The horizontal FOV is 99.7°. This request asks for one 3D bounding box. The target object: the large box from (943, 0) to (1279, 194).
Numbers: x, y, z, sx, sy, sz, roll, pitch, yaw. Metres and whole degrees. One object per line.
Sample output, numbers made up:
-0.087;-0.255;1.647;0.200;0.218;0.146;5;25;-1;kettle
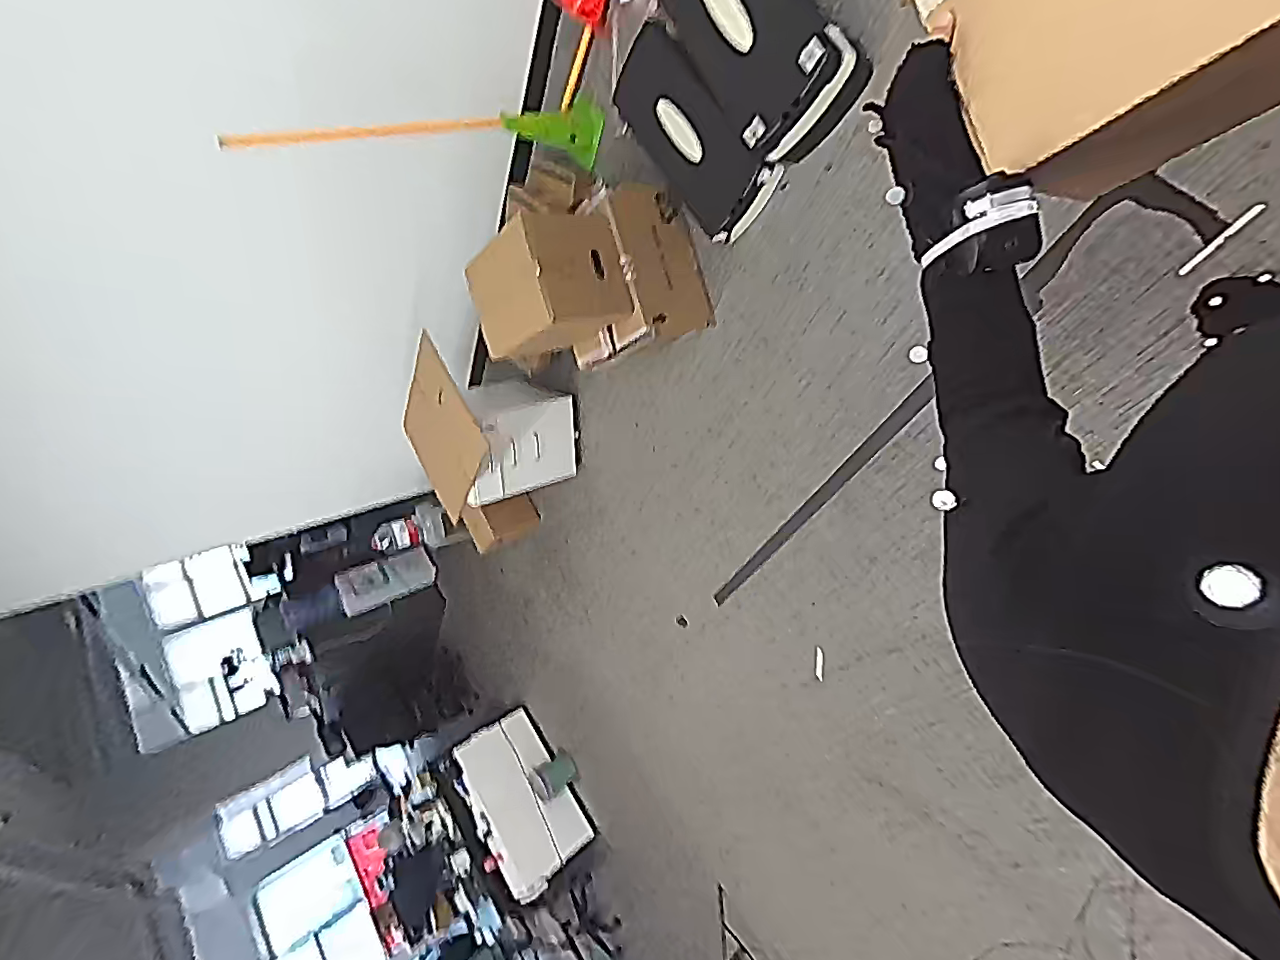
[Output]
0.463;-0.469;0.370;0.408;0.320;0.320;-20;91;51;large box
